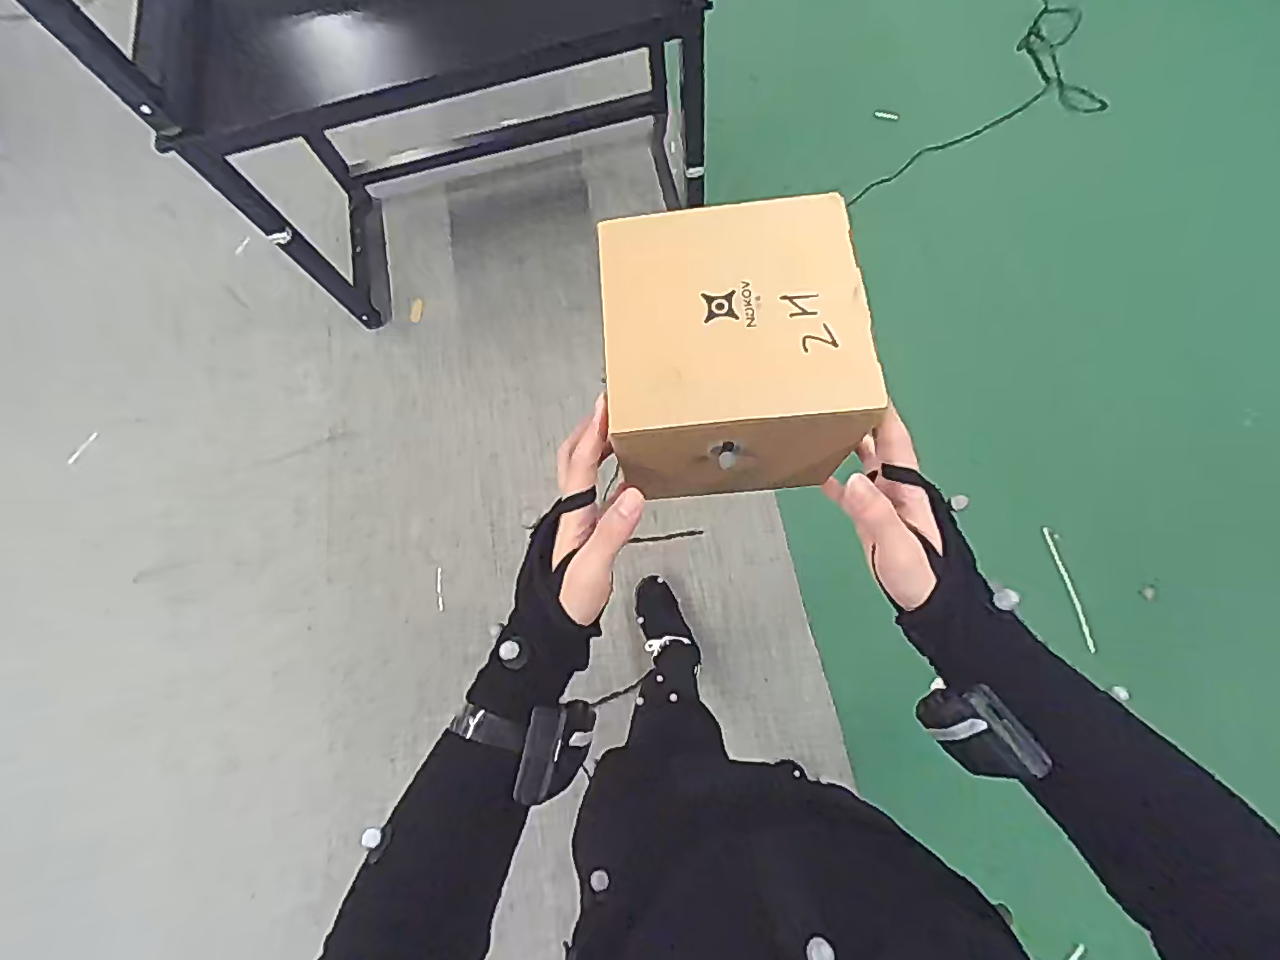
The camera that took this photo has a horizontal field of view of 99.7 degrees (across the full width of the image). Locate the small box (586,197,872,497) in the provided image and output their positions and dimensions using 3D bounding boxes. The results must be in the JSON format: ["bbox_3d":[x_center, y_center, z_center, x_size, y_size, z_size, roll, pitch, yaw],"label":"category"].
[{"bbox_3d":[0.059,-0.089,0.434,0.179,0.176,0.168,-5,73,3],"label":"small box"}]
